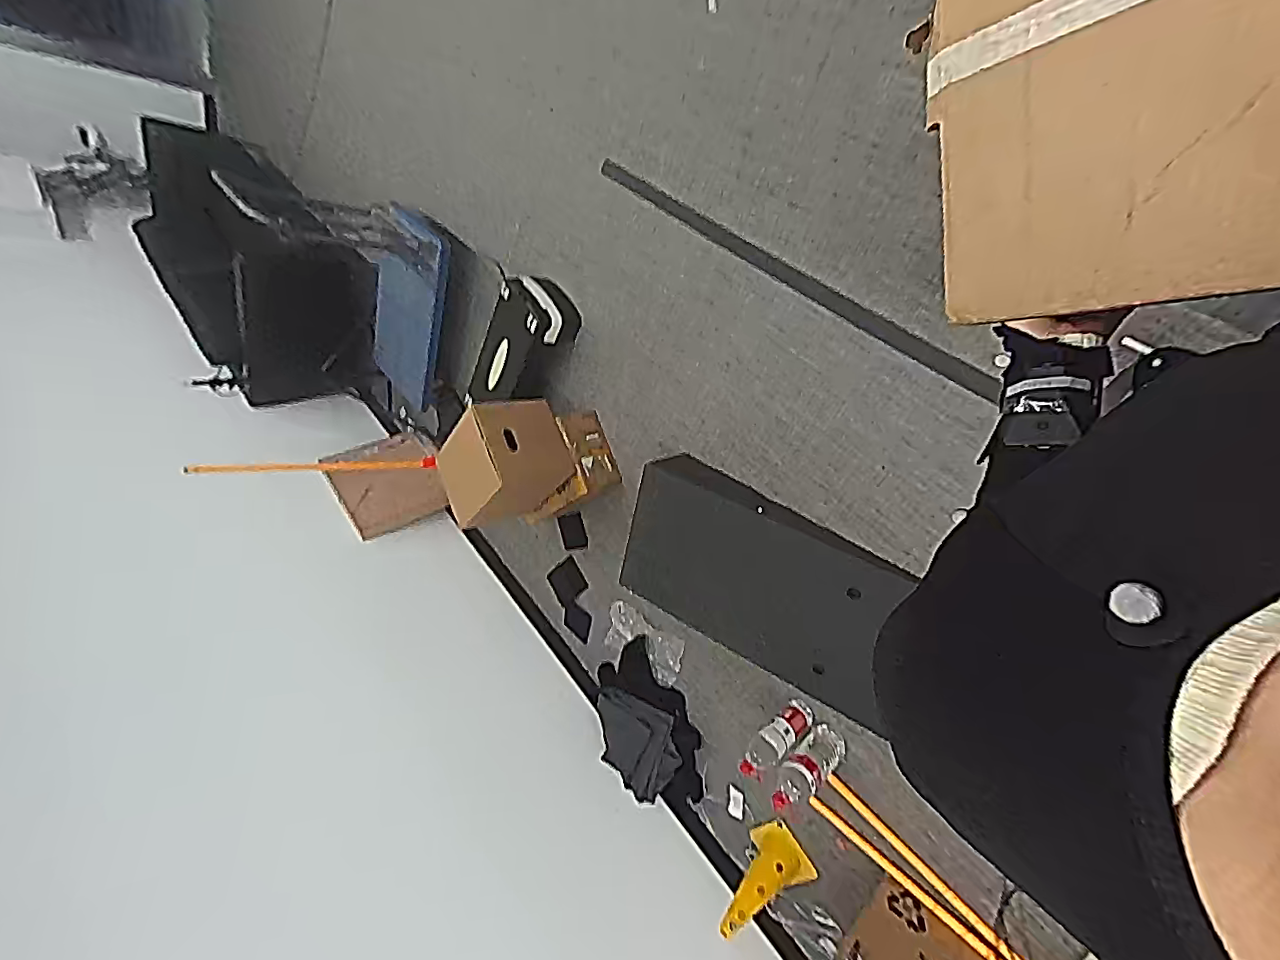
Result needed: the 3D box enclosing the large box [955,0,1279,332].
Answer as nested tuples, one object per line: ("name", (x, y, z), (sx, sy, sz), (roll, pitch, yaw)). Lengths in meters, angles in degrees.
("large box", (0.436, -0.275, 0.283), (0.408, 0.320, 0.320), (7, 111, 48))
